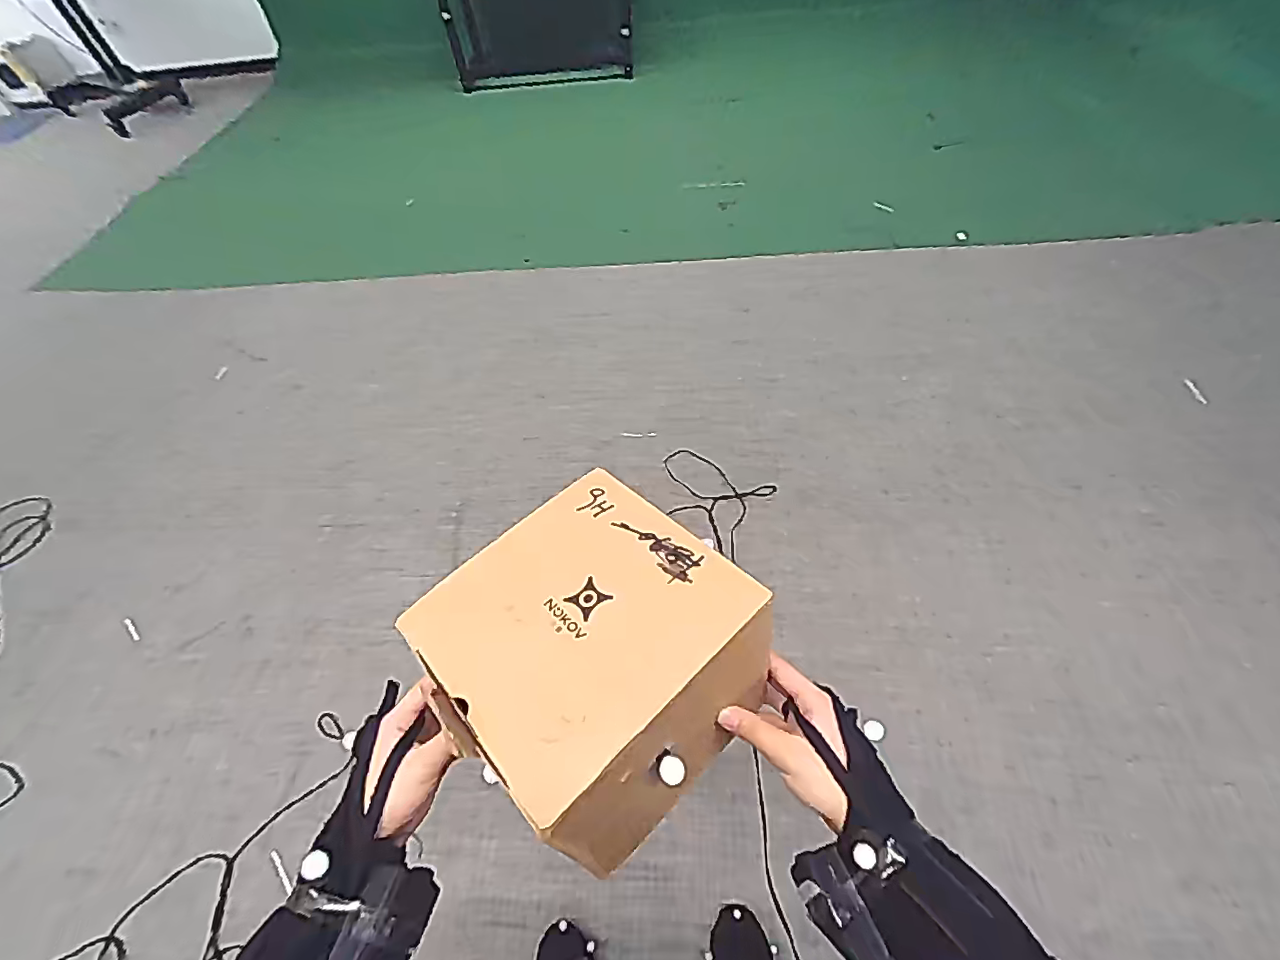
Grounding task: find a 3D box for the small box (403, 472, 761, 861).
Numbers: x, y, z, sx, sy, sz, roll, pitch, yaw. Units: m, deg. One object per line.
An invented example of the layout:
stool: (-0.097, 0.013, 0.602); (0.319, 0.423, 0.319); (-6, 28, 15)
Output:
small box: (-0.027, 0.135, 0.394); (0.179, 0.176, 0.168); (-39, 53, -22)
